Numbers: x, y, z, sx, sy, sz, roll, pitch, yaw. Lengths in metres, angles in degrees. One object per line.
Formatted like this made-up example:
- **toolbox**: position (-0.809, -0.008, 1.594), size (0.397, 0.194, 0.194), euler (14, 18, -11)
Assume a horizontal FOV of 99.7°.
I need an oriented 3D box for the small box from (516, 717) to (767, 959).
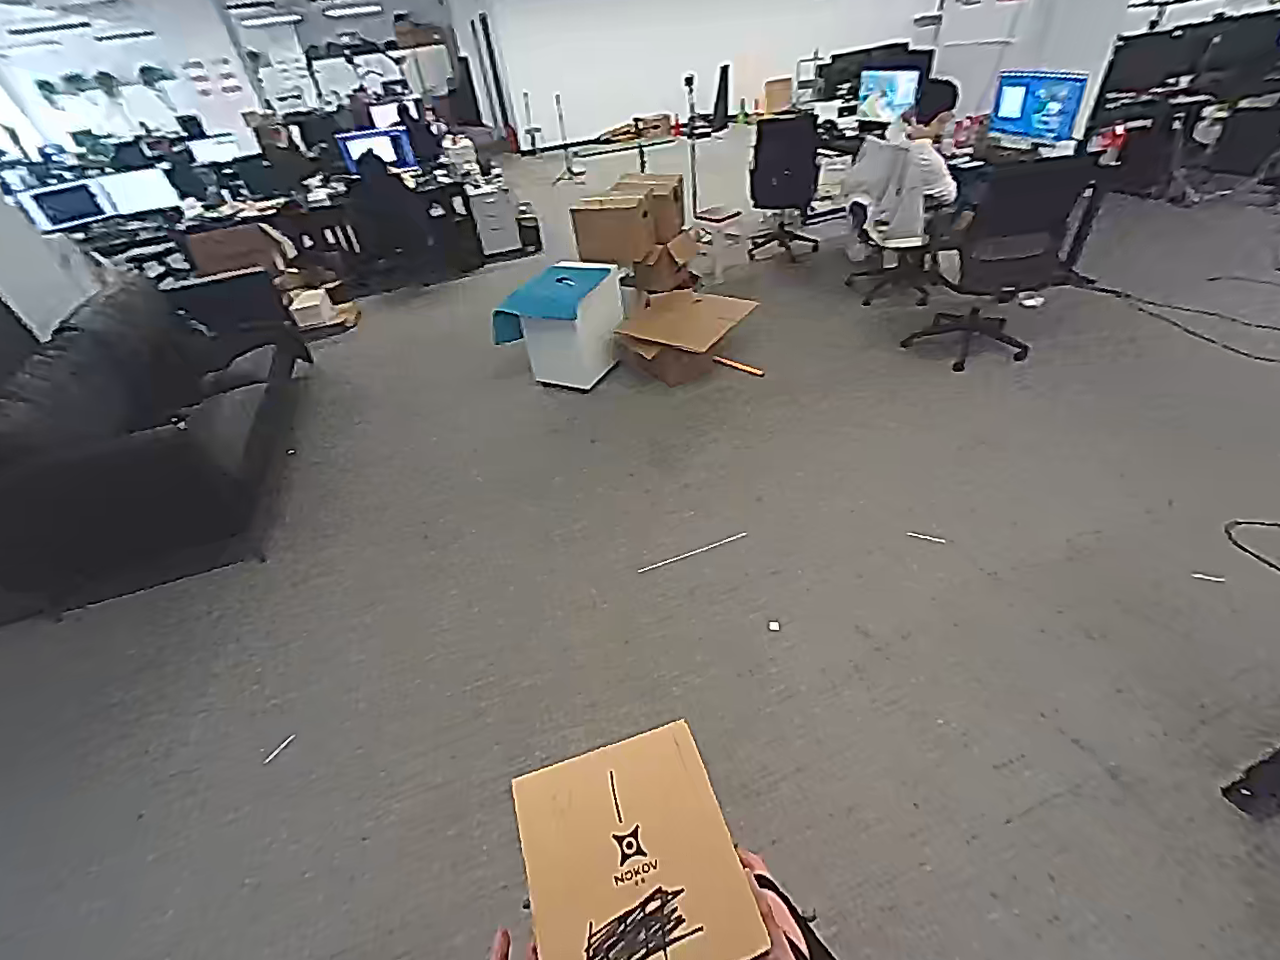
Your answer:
- **small box**: position (-0.006, 0.352, 0.494), size (0.168, 0.176, 0.179), euler (-14, 49, -12)
